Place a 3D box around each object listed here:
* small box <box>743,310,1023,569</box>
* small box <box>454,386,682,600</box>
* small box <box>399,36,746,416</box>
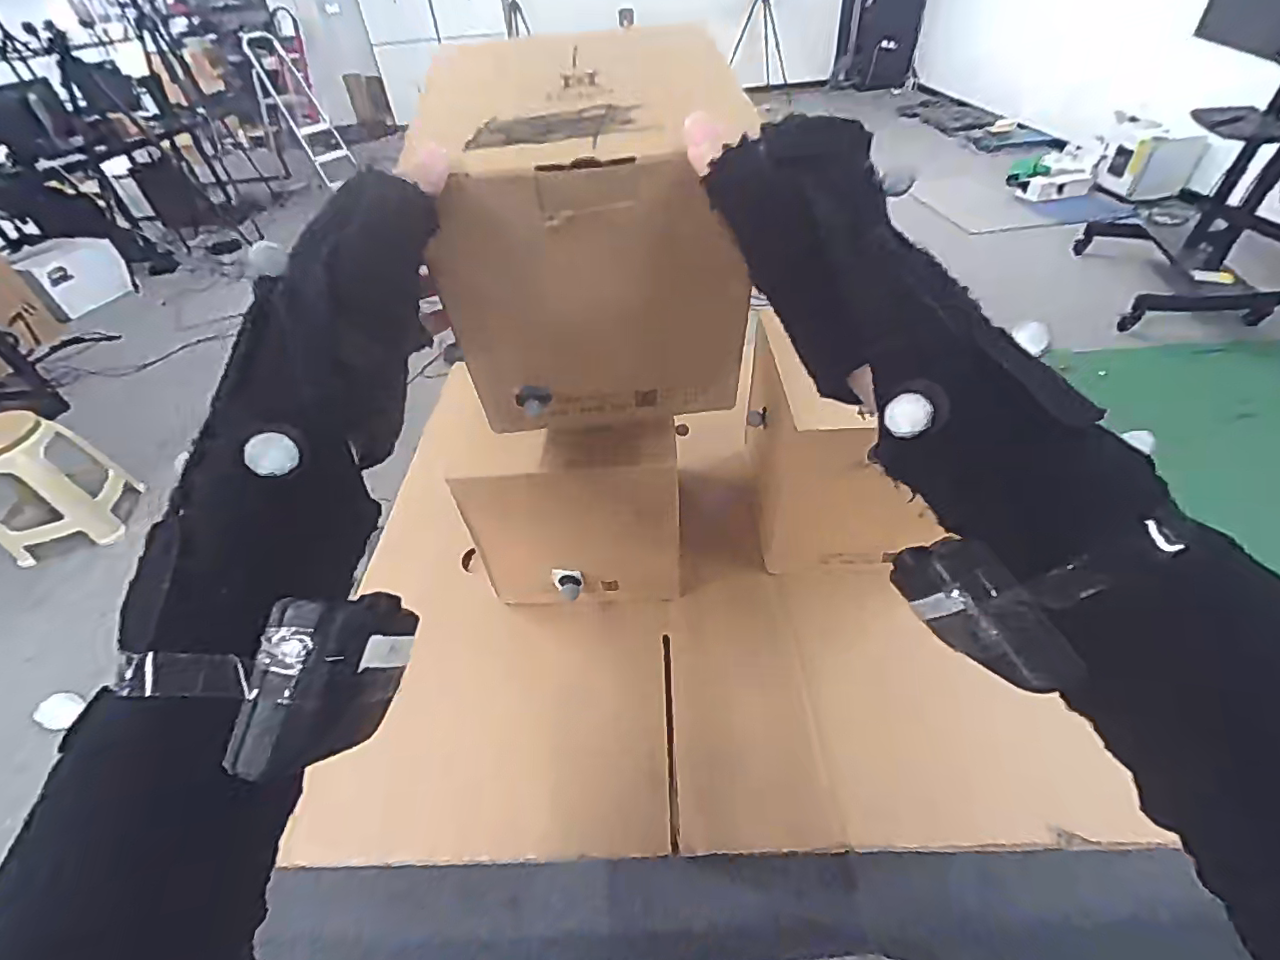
[{"bbox_3d":[0.191,-0.039,0.495,0.168,0.176,0.179,-1,43,2],"label":"small box"},{"bbox_3d":[-0.049,-0.010,0.499,0.168,0.176,0.179,-4,46,3],"label":"small box"},{"bbox_3d":[-0.032,-0.156,0.359,0.168,0.176,0.179,-6,53,-1],"label":"small box"}]
